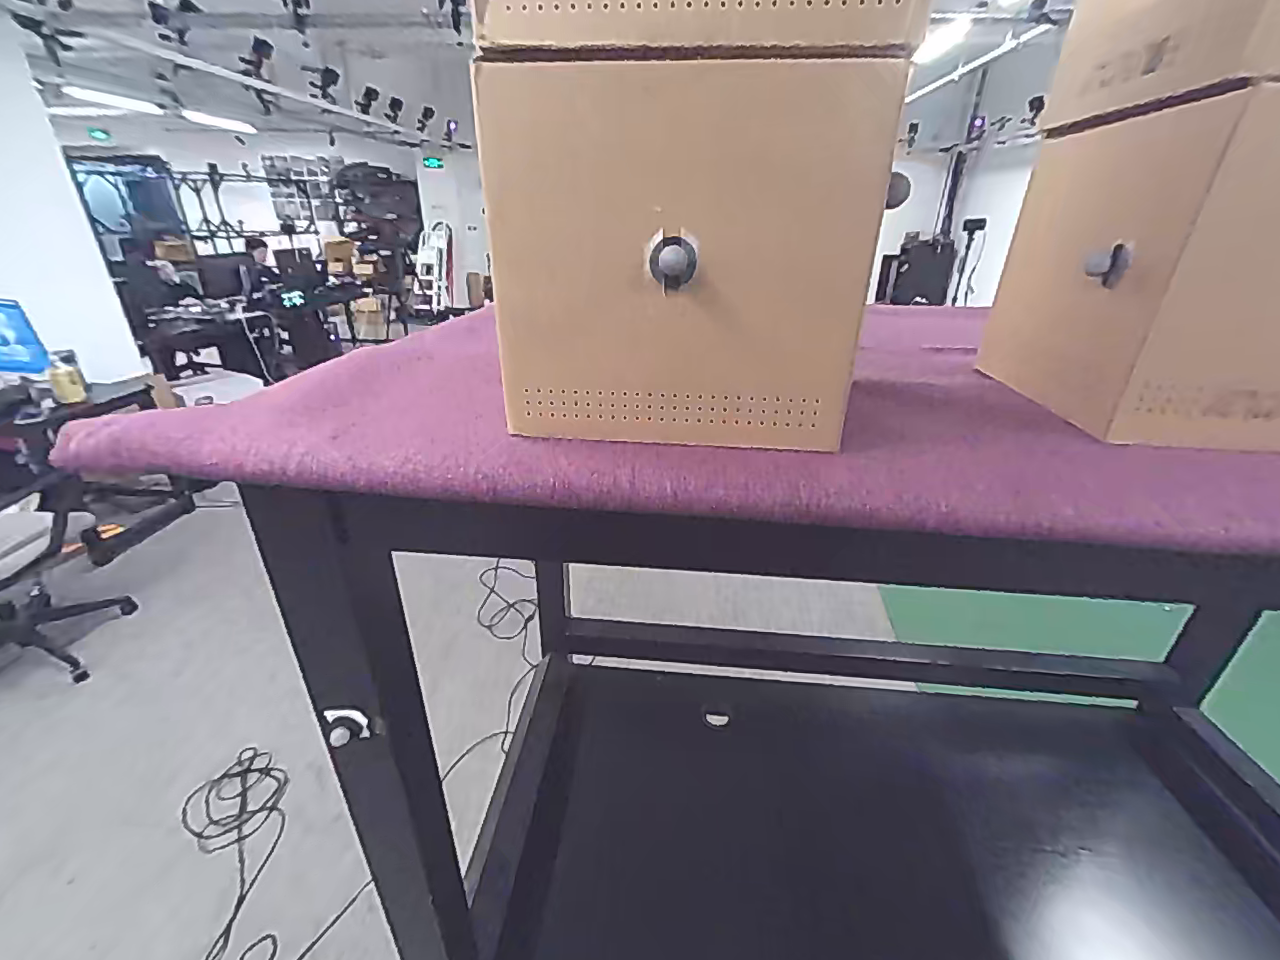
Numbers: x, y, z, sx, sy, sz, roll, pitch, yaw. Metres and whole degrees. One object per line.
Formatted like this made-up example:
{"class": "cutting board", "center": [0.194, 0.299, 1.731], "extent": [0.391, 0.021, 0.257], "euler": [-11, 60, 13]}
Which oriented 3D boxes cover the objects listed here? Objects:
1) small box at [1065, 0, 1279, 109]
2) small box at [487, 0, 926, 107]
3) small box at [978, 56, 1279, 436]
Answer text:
{"class": "small box", "center": [0.347, -0.279, 0.254], "extent": [0.179, 0.176, 0.168], "euler": [5, 27, 5]}
{"class": "small box", "center": [0.027, -0.279, 0.240], "extent": [0.179, 0.176, 0.168], "euler": [1, 27, 3]}
{"class": "small box", "center": [0.344, -0.130, 0.325], "extent": [0.168, 0.176, 0.179], "euler": [5, 25, 5]}
